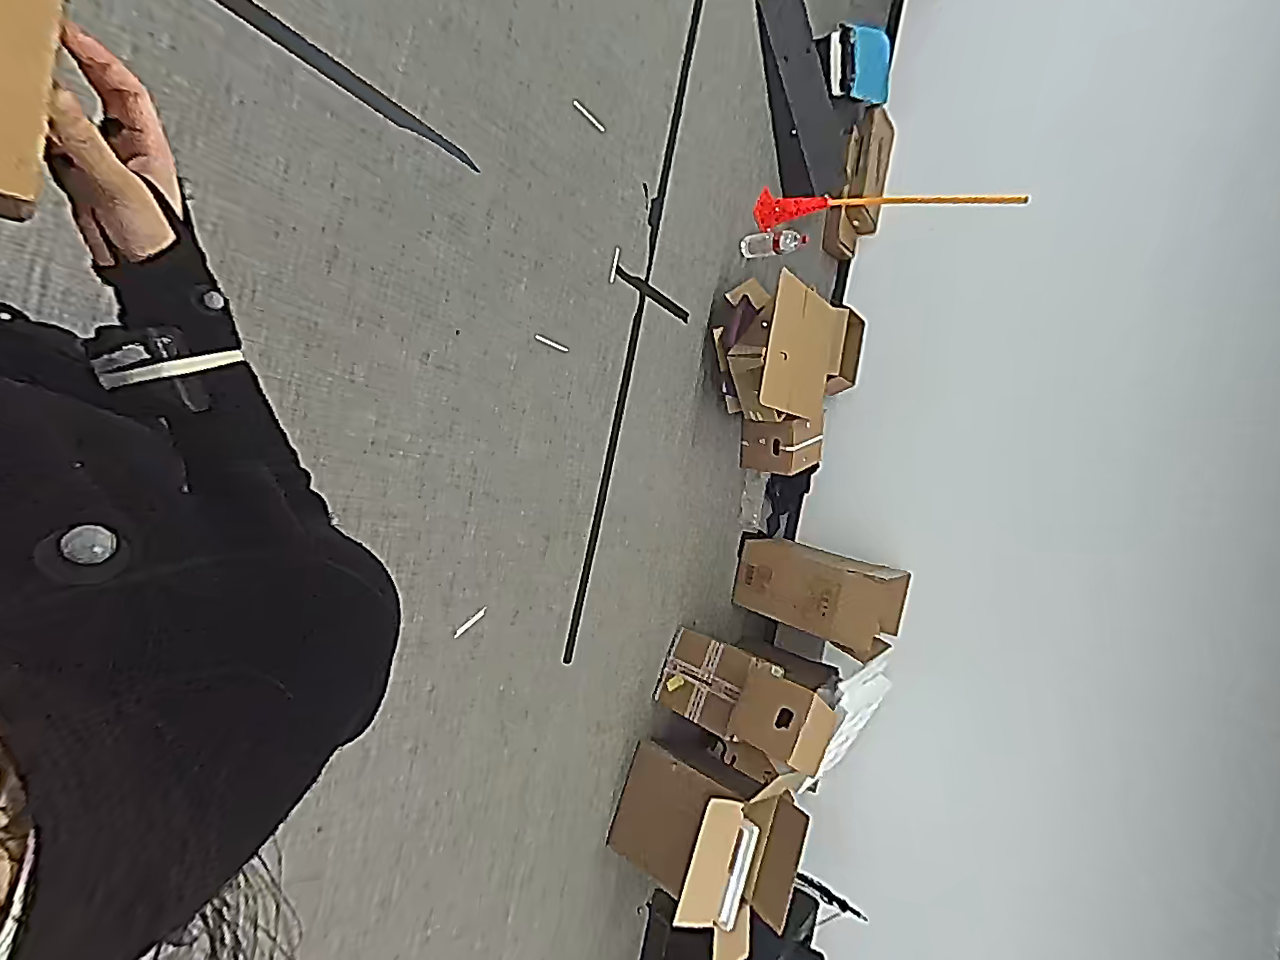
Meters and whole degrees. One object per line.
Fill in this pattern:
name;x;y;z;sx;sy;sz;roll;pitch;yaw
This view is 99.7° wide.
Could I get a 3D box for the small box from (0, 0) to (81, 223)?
small box;-0.383;-0.240;0.249;0.168;0.176;0.179;7;97;-51
